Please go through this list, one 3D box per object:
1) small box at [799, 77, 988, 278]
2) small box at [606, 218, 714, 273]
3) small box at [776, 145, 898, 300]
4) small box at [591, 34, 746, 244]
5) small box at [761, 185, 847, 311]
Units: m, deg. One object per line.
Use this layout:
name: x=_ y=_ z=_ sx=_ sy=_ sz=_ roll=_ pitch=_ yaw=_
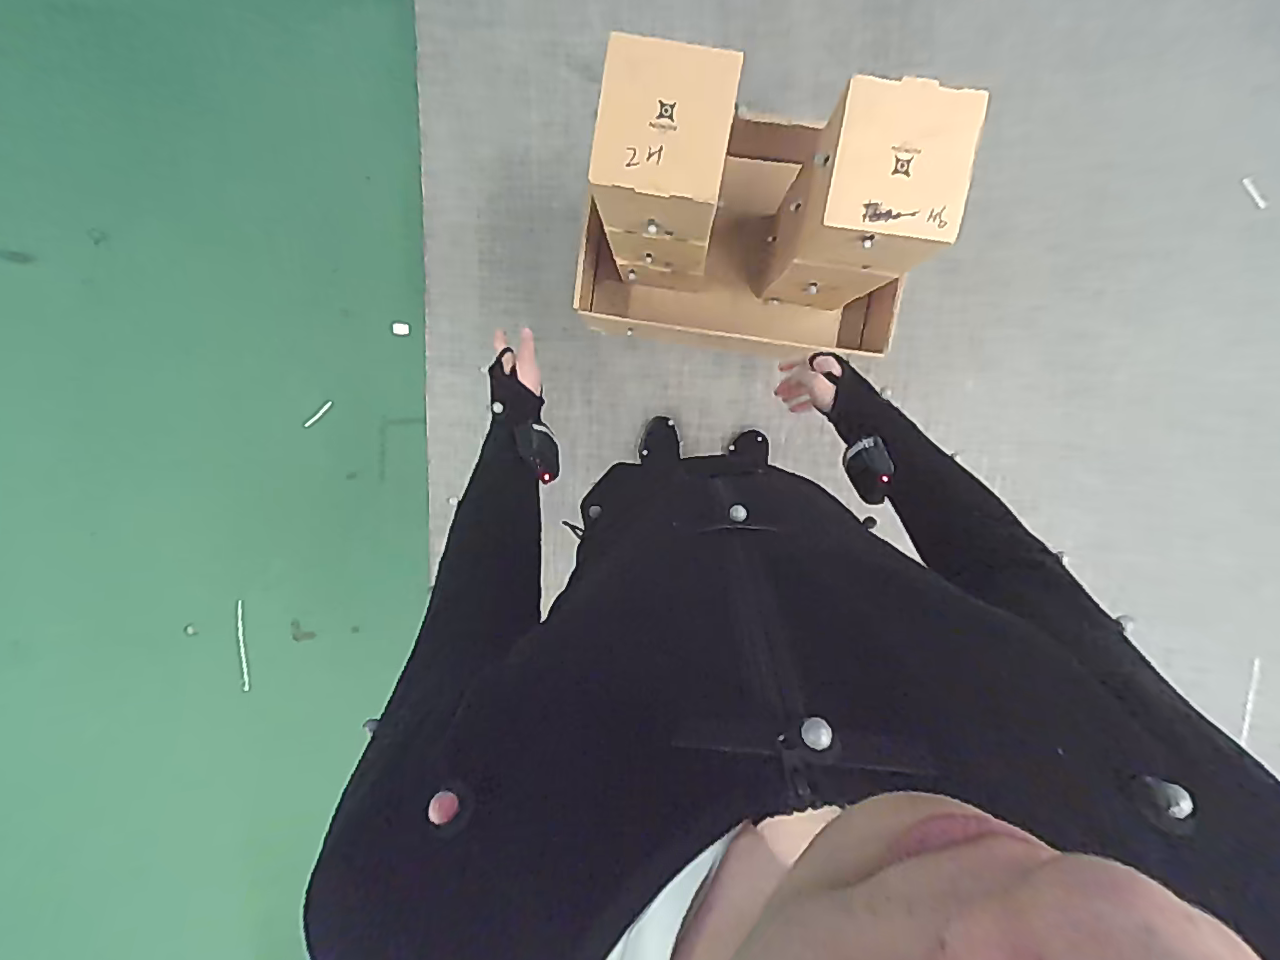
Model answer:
small box: x=0.326 y=-0.394 z=0.734 sx=0.168 sy=0.176 sz=0.179 roll=10 pitch=98 yaw=3
small box: x=0.044 y=-0.467 z=0.906 sx=0.168 sy=0.176 sz=0.179 roll=10 pitch=98 yaw=1
small box: x=0.333 y=-0.415 z=0.897 sx=0.168 sy=0.176 sz=0.179 roll=10 pitch=98 yaw=2
small box: x=0.036 y=-0.450 z=0.742 sx=0.168 sy=0.176 sz=0.179 roll=11 pitch=98 yaw=2
small box: x=0.342 y=-0.440 z=1.057 sx=0.168 sy=0.176 sz=0.179 roll=10 pitch=97 yaw=1
